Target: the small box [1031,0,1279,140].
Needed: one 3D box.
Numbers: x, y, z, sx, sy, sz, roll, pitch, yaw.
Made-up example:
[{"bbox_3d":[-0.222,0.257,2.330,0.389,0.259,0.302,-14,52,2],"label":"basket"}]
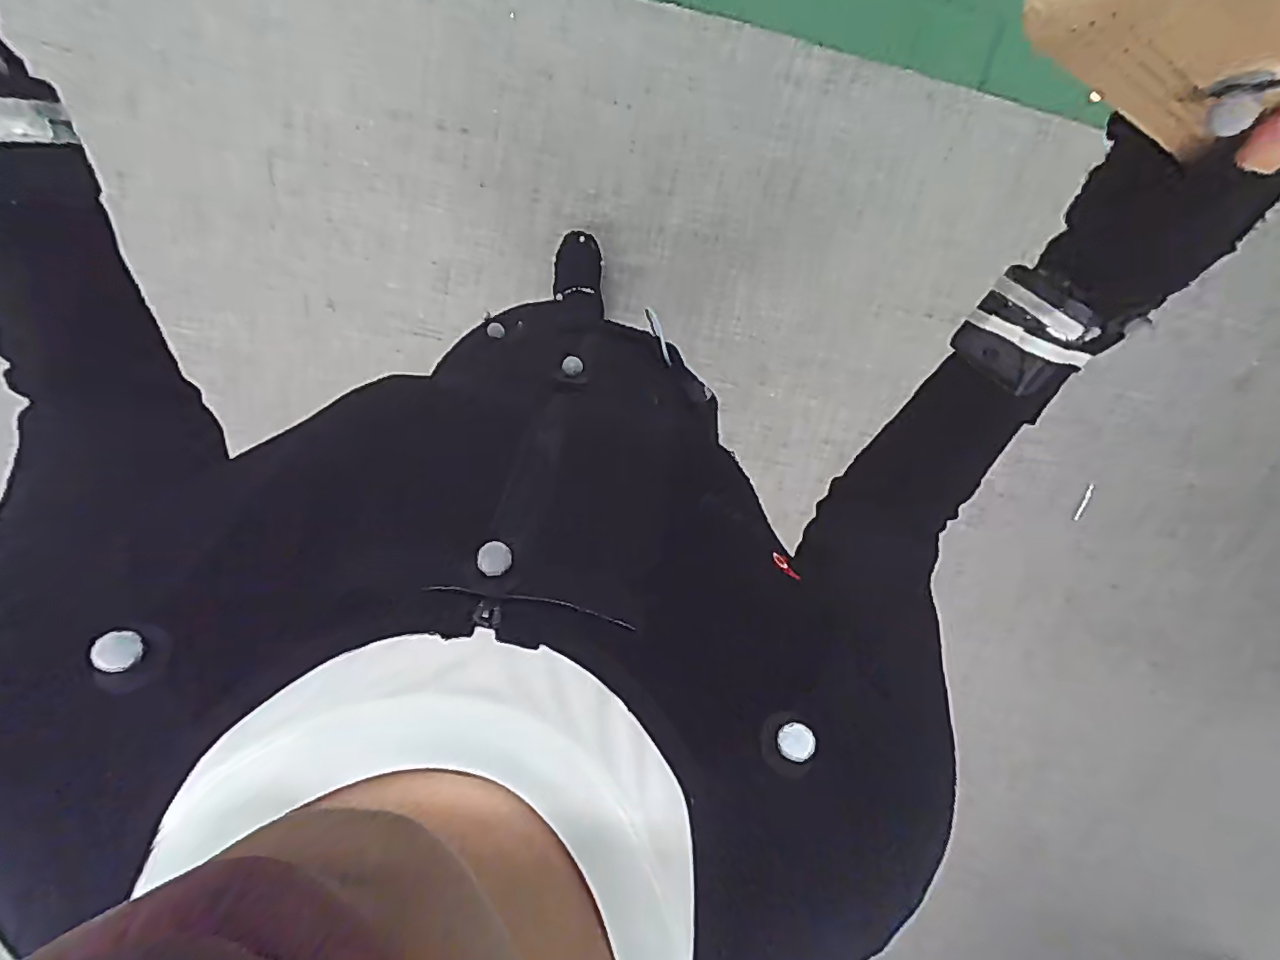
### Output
[{"bbox_3d":[0.261,-0.223,0.152,0.179,0.176,0.168,1,106,-29],"label":"small box"}]
